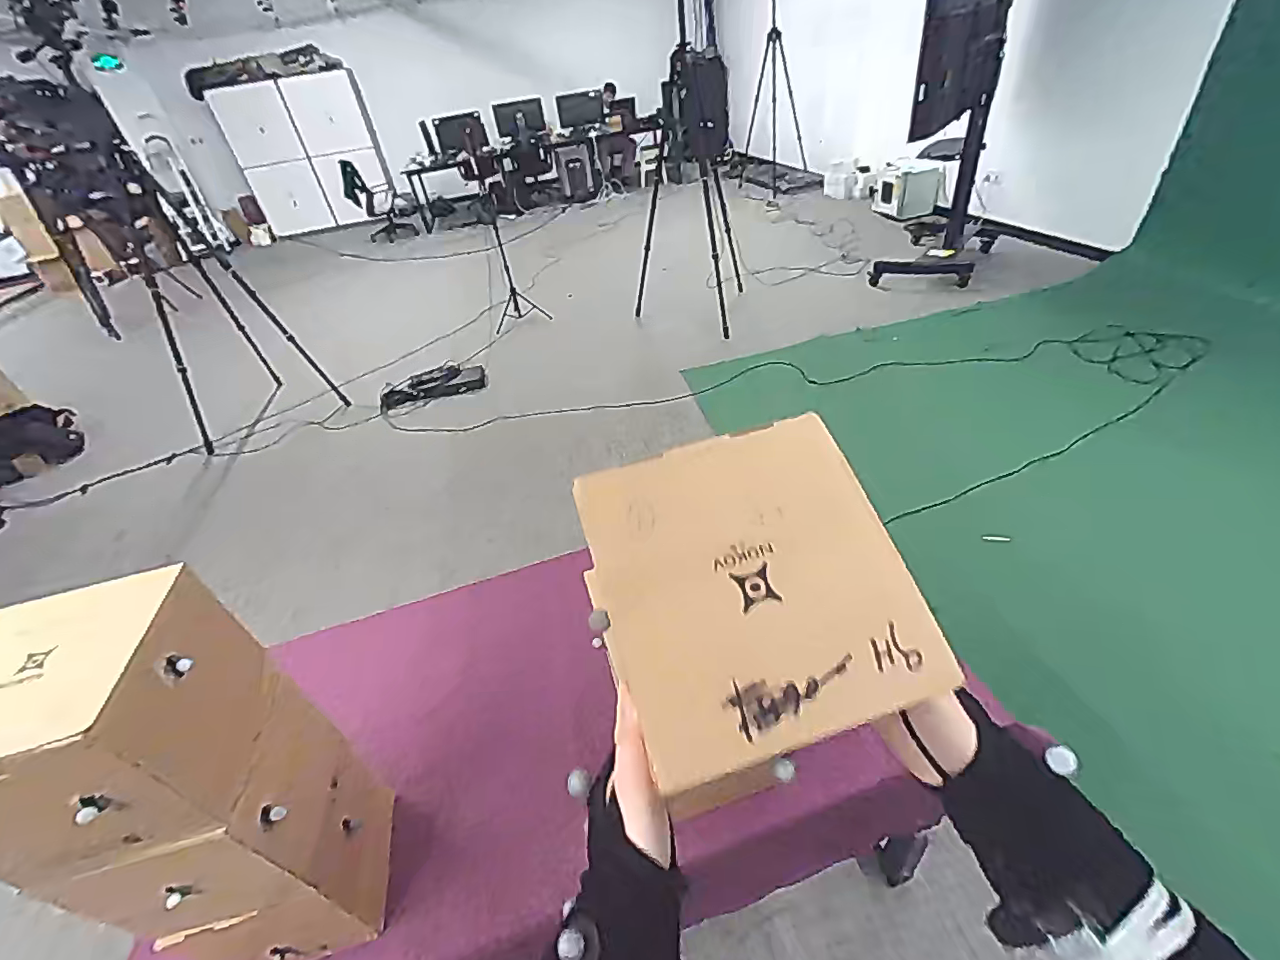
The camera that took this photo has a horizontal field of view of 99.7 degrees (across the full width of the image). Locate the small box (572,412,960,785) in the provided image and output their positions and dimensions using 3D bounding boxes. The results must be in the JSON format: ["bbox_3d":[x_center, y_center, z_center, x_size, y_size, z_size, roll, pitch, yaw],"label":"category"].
[{"bbox_3d":[0.061,0.086,0.369,0.168,0.176,0.179,-17,64,-6],"label":"small box"}]

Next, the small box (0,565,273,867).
[{"bbox_3d":[-0.472,0.212,0.484,0.168,0.176,0.179,-15,38,-7],"label":"small box"}]

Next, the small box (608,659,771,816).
[{"bbox_3d":[0.070,0.326,0.745,0.179,0.176,0.168,-16,39,-7],"label":"small box"}]

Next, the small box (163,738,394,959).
[{"bbox_3d":[-0.428,0.470,0.682,0.168,0.176,0.179,-16,39,-8],"label":"small box"}]
